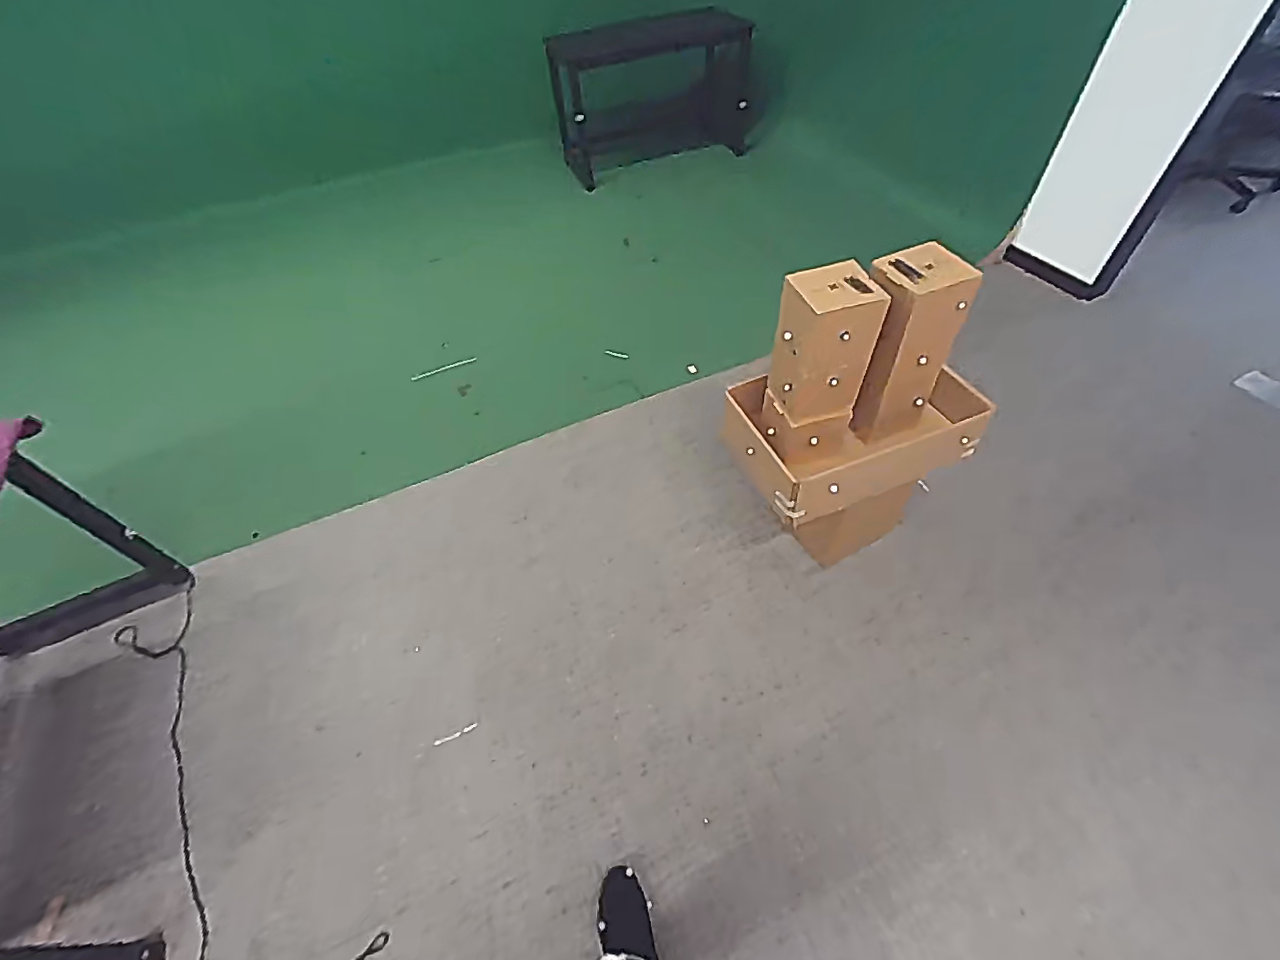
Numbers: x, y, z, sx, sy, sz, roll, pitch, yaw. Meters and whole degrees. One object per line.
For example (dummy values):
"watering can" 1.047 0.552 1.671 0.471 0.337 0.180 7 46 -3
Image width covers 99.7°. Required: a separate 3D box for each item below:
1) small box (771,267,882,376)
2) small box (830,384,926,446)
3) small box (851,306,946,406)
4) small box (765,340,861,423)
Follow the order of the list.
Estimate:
"small box" 0.430 -0.373 1.279 0.179 0.176 0.168 -14 52 -8
"small box" 0.677 -0.228 1.565 0.179 0.176 0.168 -20 52 -11
"small box" 0.661 -0.327 1.439 0.179 0.176 0.168 -22 53 -10
"small box" 0.437 -0.269 1.405 0.179 0.176 0.168 -14 52 -8
